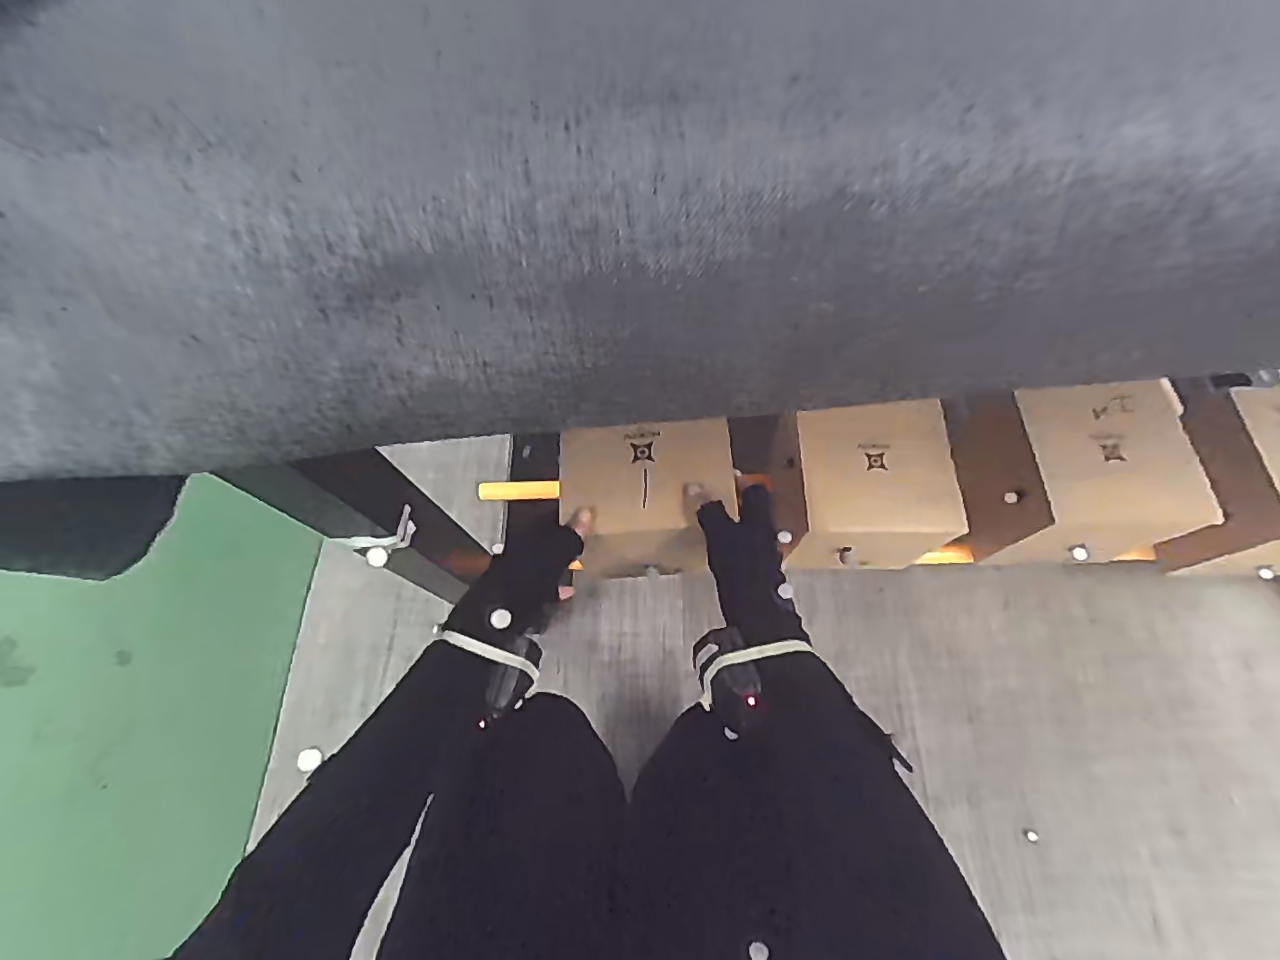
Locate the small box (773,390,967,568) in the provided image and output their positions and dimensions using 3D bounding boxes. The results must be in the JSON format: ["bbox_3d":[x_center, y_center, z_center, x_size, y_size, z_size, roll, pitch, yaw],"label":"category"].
[{"bbox_3d":[0.265,0.008,0.668,0.168,0.176,0.179,-1,66,3],"label":"small box"}]
